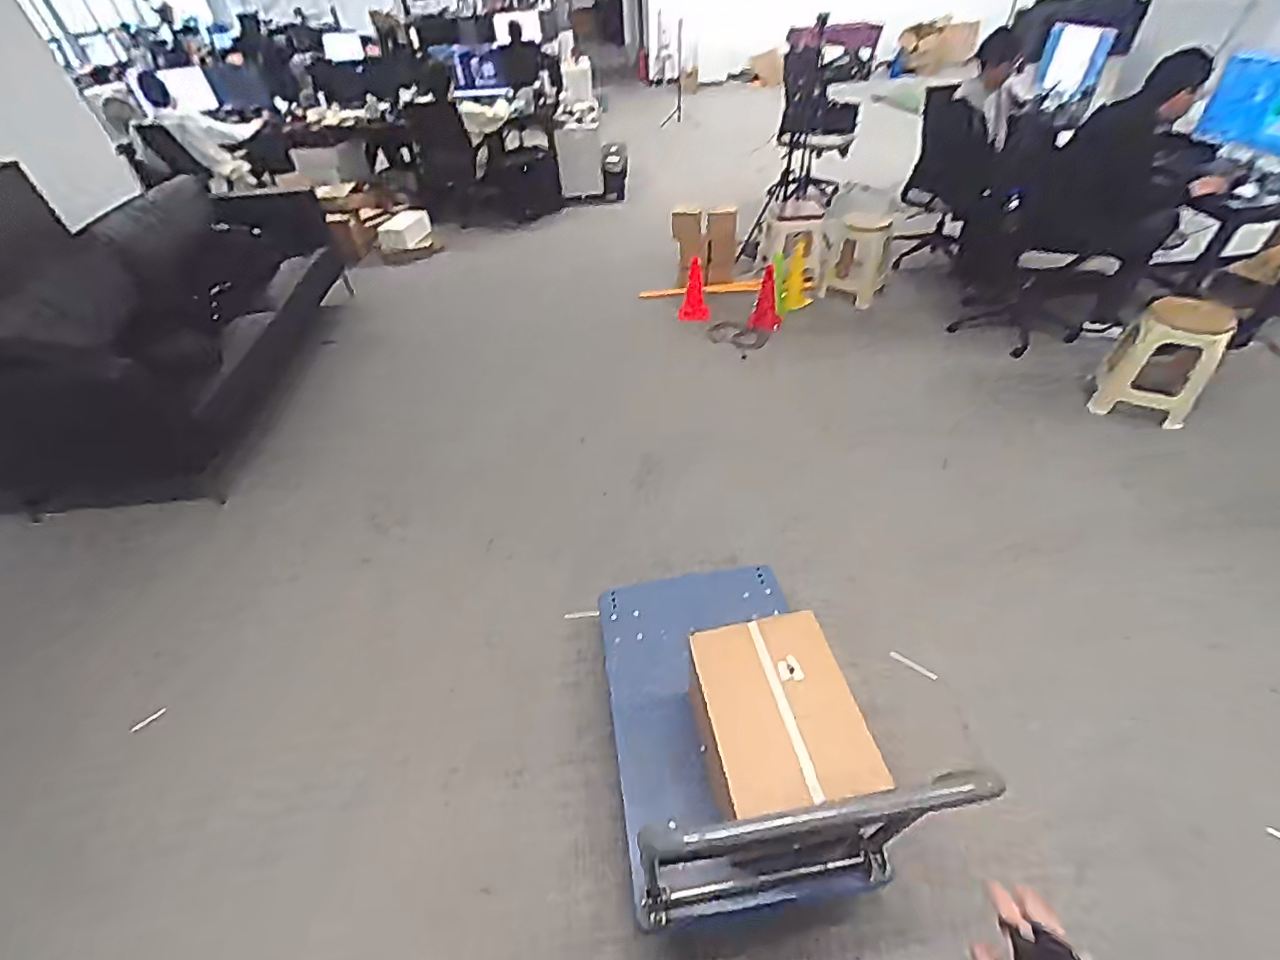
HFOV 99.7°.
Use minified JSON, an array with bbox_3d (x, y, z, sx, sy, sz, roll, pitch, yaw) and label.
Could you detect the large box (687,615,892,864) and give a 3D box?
[{"bbox_3d":[0.311,0.594,1.263,0.320,0.320,0.408,-9,43,-6],"label":"large box"}]
